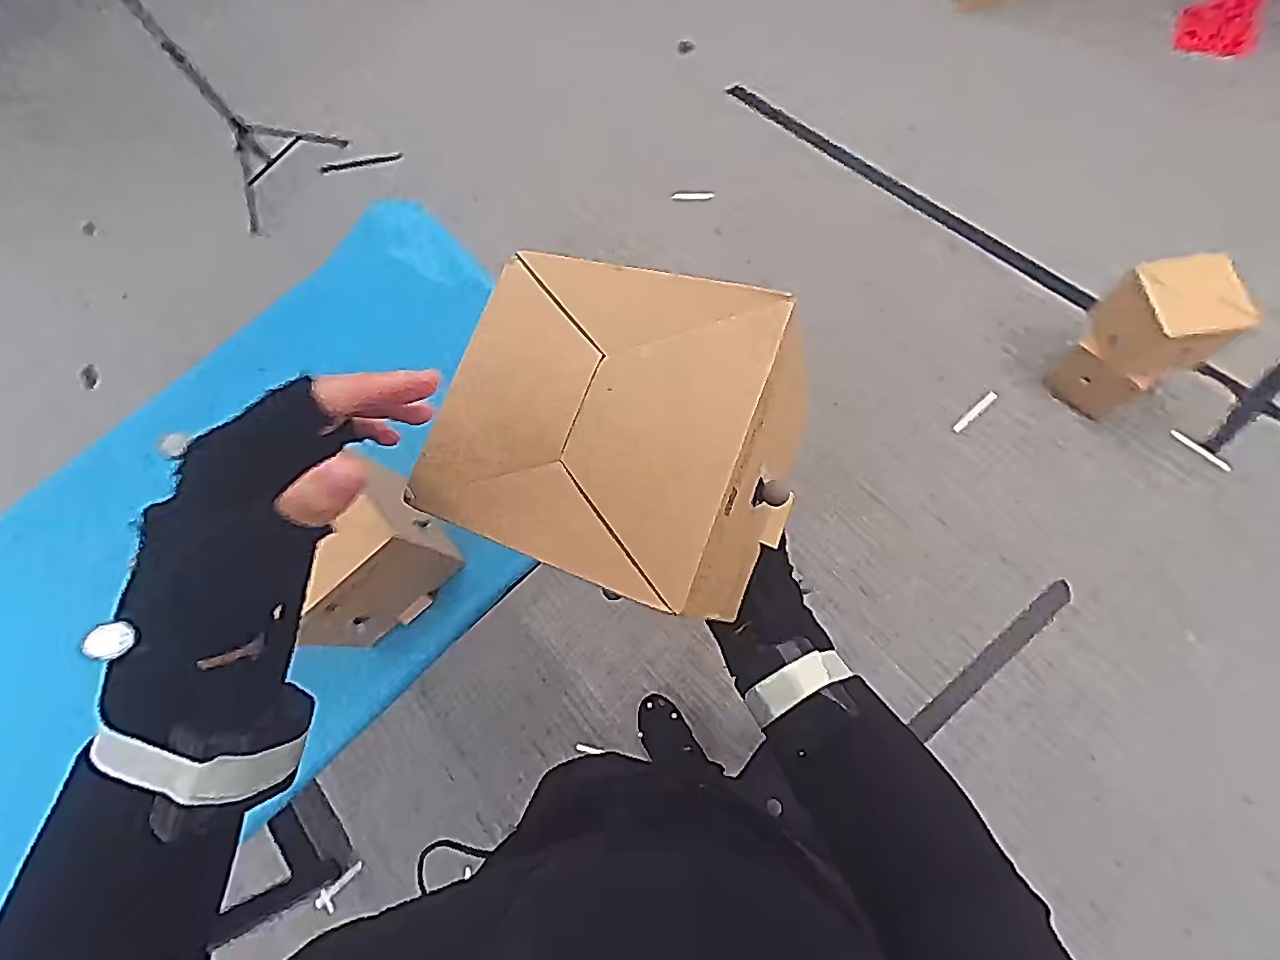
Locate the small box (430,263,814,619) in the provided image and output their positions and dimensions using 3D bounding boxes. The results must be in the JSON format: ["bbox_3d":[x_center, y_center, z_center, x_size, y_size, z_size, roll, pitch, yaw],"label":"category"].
[{"bbox_3d":[0.002,-0.017,0.361,0.179,0.176,0.168,19,81,23],"label":"small box"}]

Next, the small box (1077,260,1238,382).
[{"bbox_3d":[1.109,-0.338,1.167,0.168,0.176,0.179,-7,70,6],"label":"small box"}]

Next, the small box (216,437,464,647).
[{"bbox_3d":[-0.358,0.081,0.659,0.168,0.176,0.179,-42,70,-6],"label":"small box"}]

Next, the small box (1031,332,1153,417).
[{"bbox_3d":[1.124,-0.278,1.323,0.168,0.176,0.179,-39,70,-6],"label":"small box"}]
